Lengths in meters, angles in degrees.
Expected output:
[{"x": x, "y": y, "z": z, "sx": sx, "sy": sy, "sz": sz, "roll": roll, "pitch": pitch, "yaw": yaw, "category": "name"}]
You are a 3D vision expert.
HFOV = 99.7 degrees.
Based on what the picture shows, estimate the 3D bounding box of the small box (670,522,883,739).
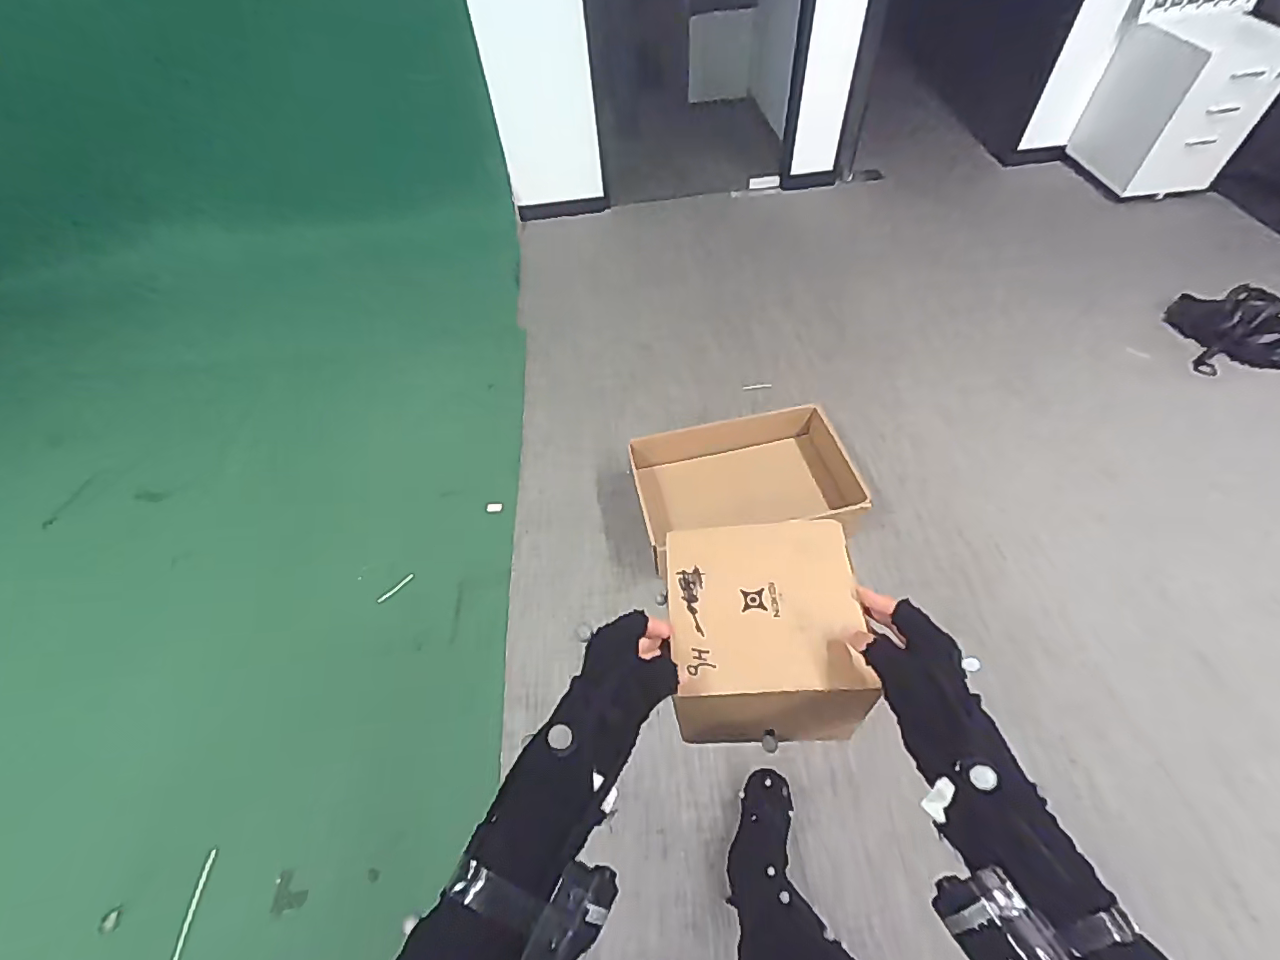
[{"x": 0.123, "y": 0.160, "z": 0.560, "sx": 0.179, "sy": 0.176, "sz": 0.168, "roll": -4, "pitch": 51, "yaw": 5, "category": "small box"}]
